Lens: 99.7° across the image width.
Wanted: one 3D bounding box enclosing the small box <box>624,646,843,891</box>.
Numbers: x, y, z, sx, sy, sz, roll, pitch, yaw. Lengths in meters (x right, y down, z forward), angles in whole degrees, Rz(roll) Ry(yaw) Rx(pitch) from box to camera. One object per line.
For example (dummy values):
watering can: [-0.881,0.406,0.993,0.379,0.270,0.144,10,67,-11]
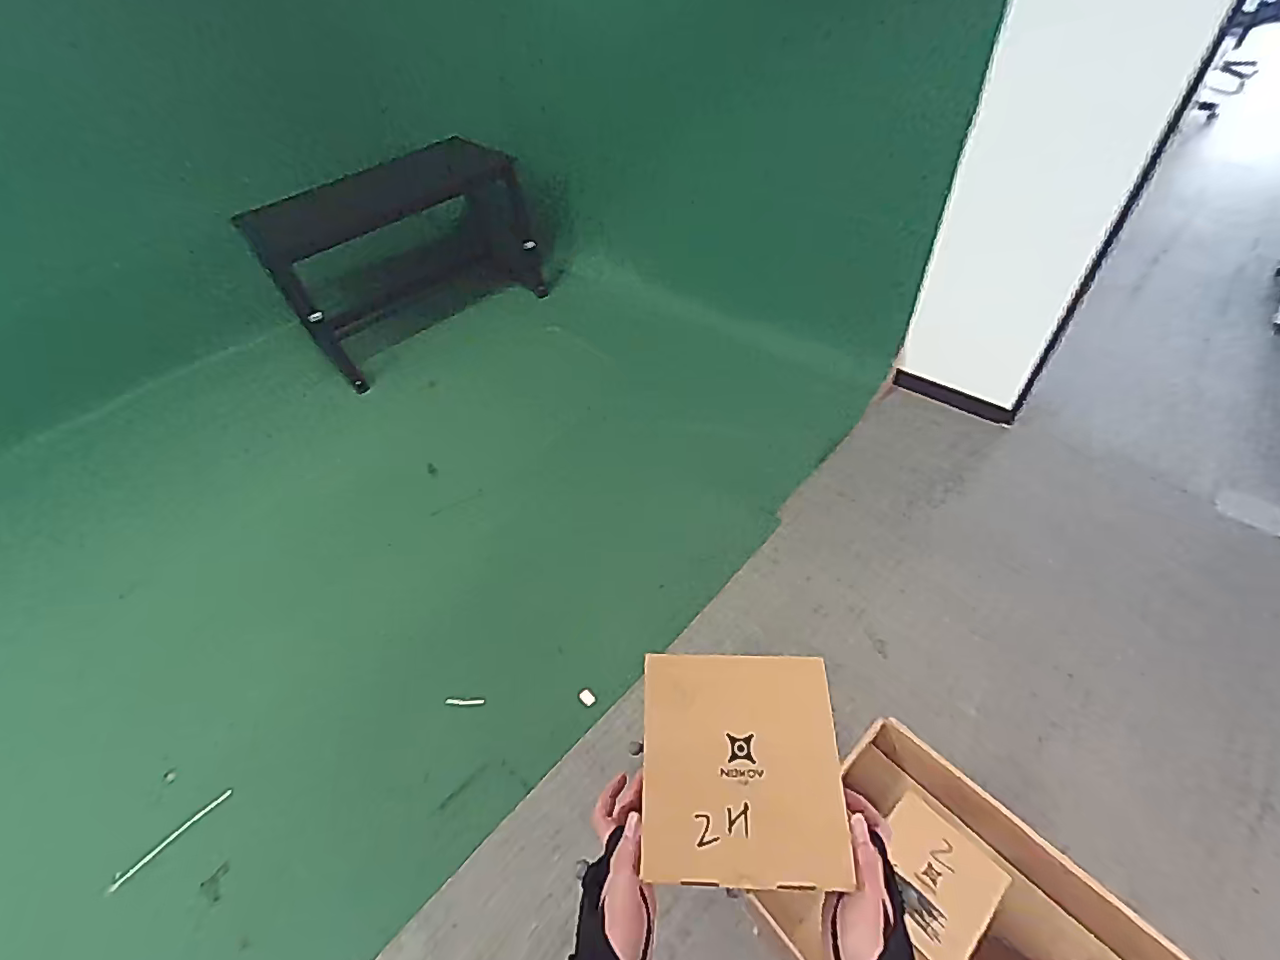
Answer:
small box: [0.076,0.270,0.513,0.168,0.176,0.179,0,58,4]
